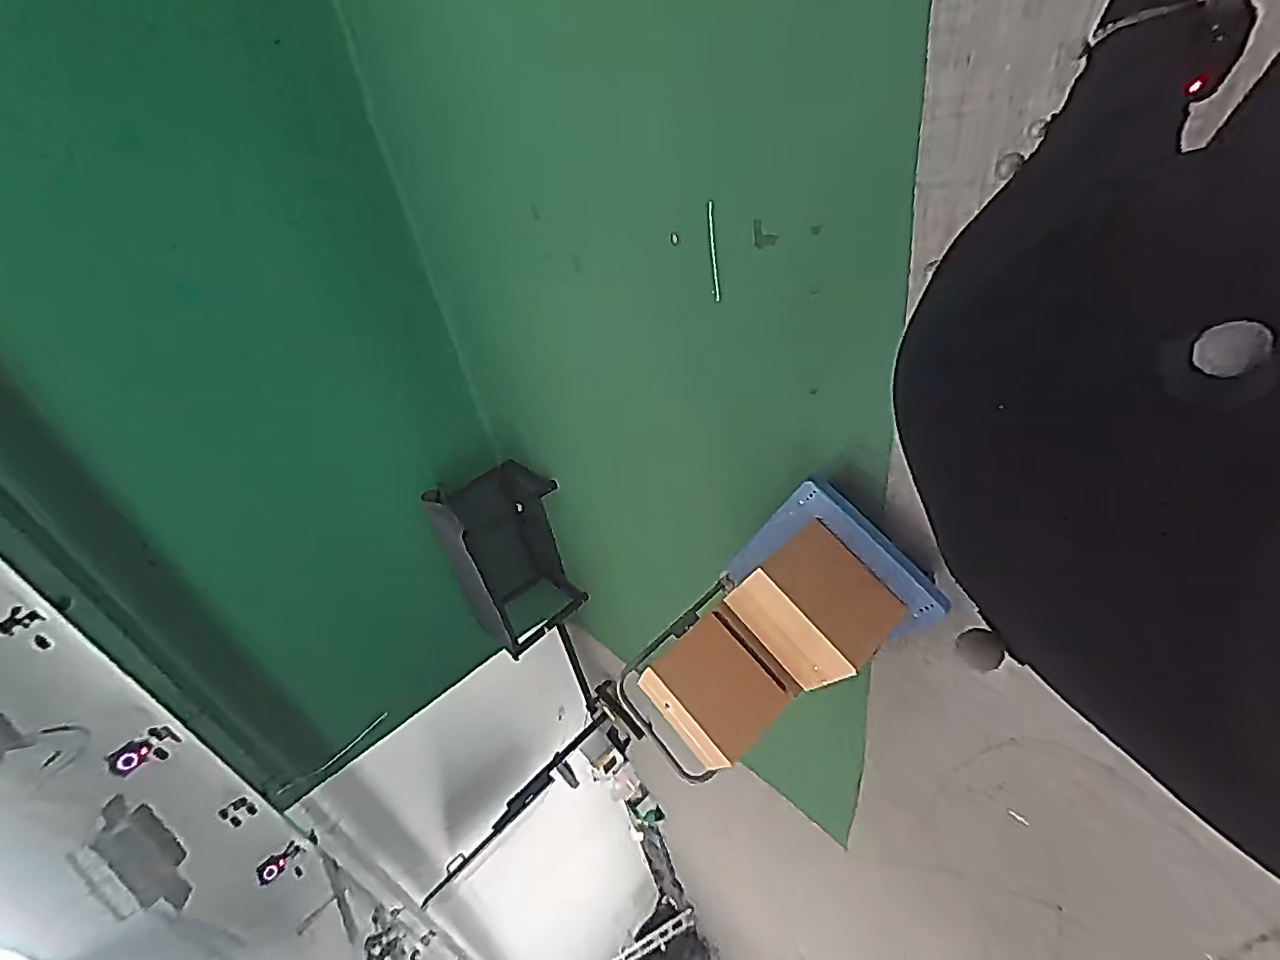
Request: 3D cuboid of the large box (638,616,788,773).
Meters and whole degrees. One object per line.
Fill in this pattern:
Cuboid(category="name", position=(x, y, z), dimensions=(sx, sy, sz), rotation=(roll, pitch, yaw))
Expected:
Cuboid(category="large box", position=(0.251, 0.772, 1.947), dimensions=(0.408, 0.320, 0.320), rotation=(47, 153, 18))
